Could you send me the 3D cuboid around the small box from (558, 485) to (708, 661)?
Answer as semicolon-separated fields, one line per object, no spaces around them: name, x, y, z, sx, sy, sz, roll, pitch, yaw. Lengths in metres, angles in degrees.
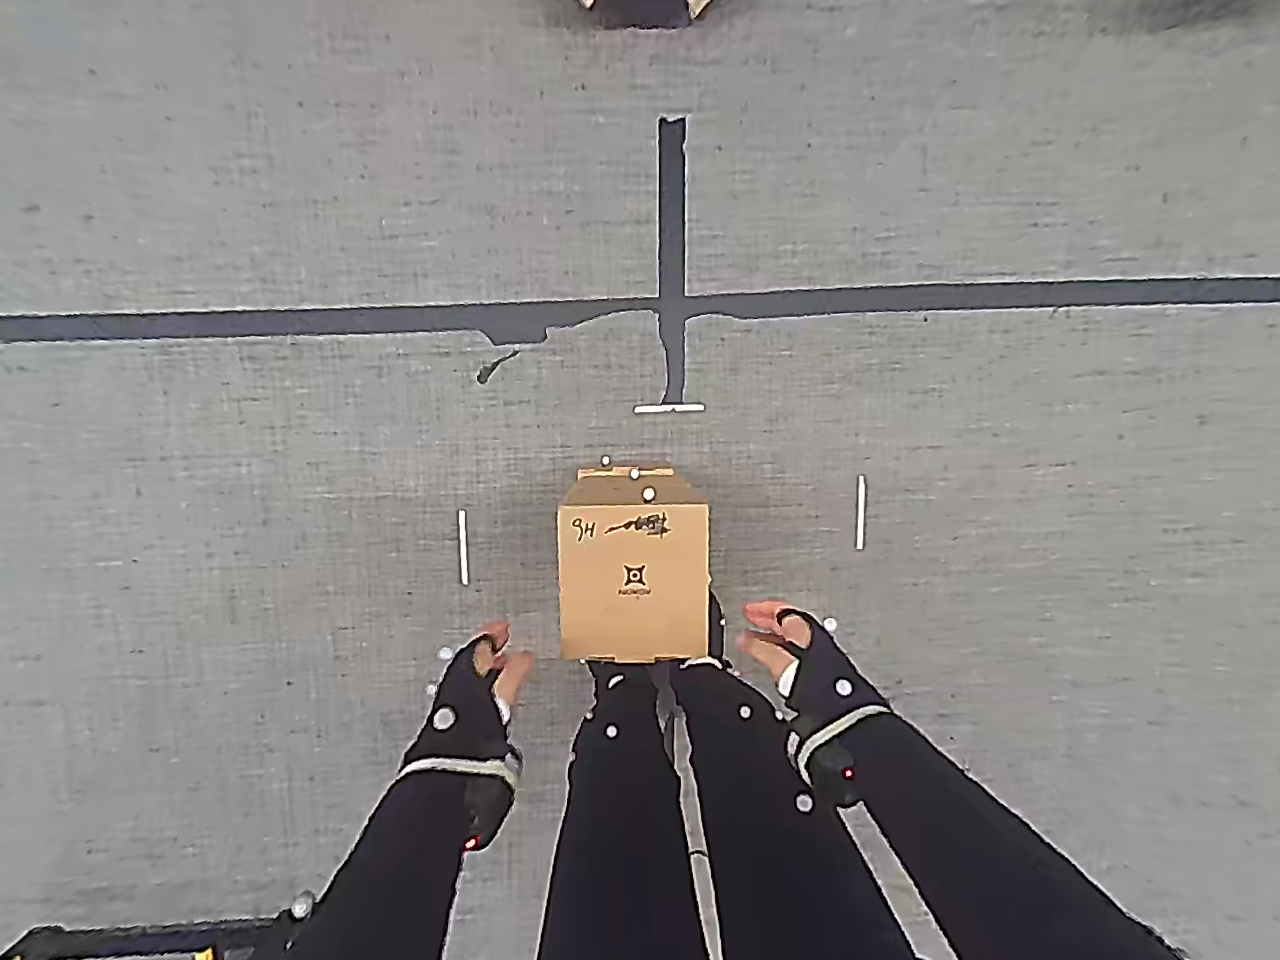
small box;-0.008;0.105;0.671;0.168;0.176;0.179;-1;97;-1

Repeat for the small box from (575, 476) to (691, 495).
small box;-0.012;0.085;0.834;0.168;0.176;0.179;-1;96;-1

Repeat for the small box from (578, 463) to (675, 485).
small box;-0.025;0.059;0.997;0.168;0.176;0.179;-1;97;-1
